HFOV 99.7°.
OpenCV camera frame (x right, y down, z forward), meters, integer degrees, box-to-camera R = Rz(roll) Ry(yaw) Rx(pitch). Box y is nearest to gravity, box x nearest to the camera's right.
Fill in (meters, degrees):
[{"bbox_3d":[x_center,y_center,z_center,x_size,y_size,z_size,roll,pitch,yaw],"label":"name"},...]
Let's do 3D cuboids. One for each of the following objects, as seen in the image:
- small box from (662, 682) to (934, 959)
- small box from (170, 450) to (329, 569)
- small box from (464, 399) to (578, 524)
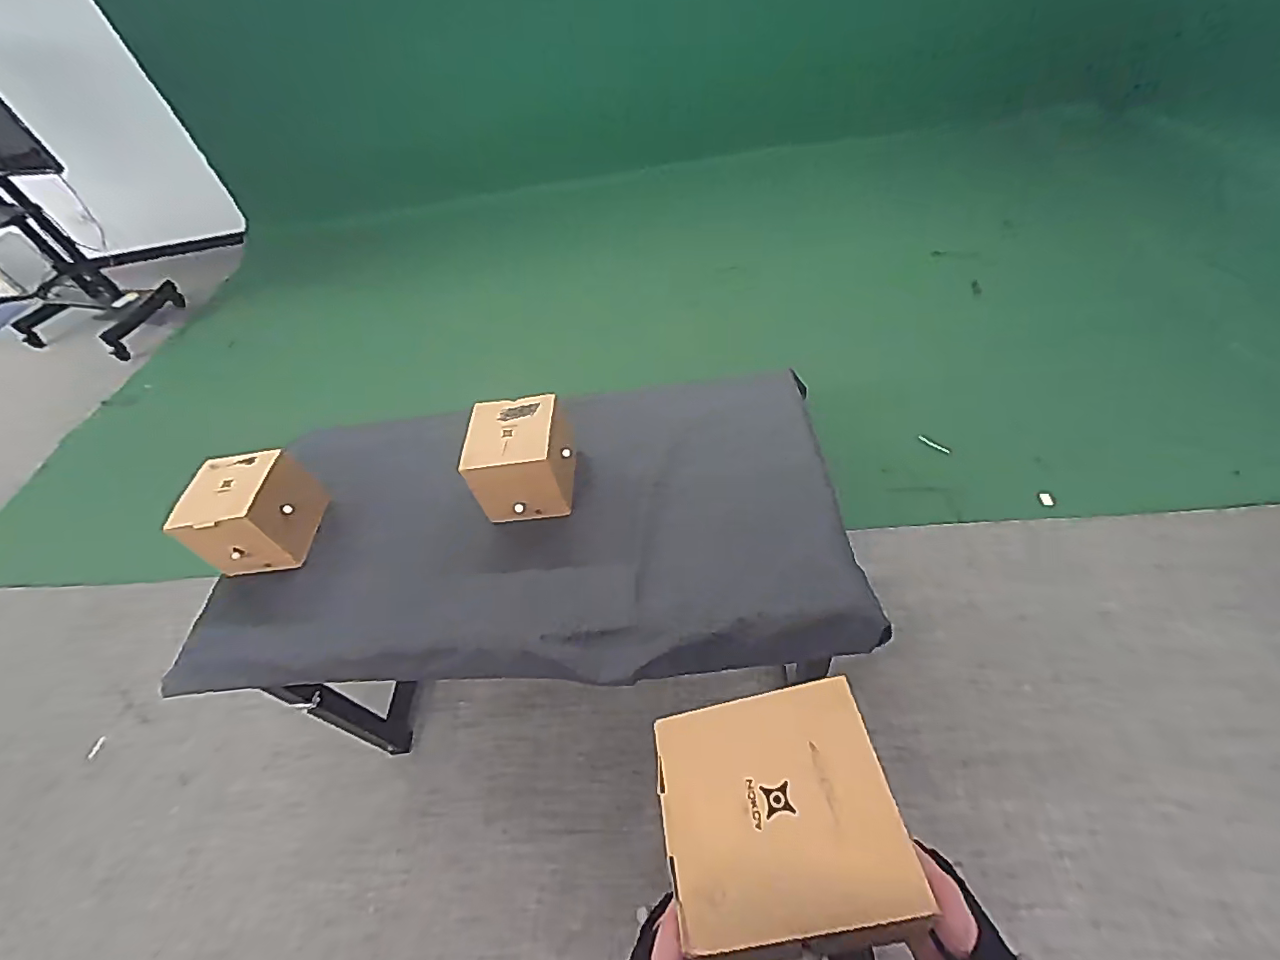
[{"bbox_3d":[0.132,0.310,0.484,0.179,0.176,0.168,-16,45,6],"label":"small box"},{"bbox_3d":[-0.766,0.066,1.087,0.168,0.176,0.179,-7,50,4],"label":"small box"},{"bbox_3d":[-0.223,-0.033,1.068,0.168,0.176,0.179,-6,51,6],"label":"small box"}]
